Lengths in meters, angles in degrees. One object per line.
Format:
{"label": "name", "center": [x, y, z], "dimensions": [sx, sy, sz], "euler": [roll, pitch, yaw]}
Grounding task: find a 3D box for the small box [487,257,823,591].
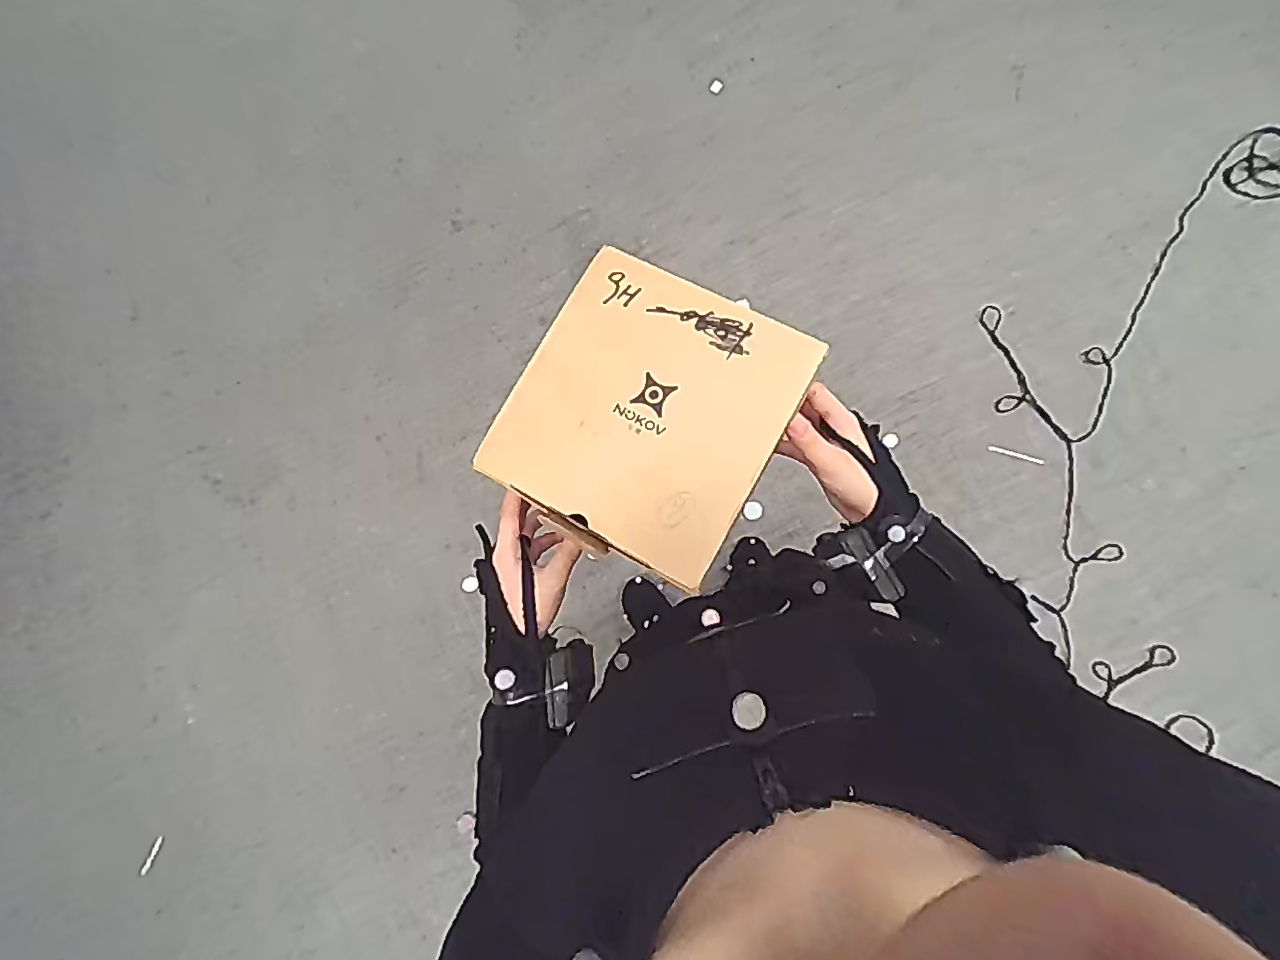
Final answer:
{"label": "small box", "center": [0.019, -0.029, 0.428], "dimensions": [0.168, 0.176, 0.179], "euler": [28, 85, 11]}
